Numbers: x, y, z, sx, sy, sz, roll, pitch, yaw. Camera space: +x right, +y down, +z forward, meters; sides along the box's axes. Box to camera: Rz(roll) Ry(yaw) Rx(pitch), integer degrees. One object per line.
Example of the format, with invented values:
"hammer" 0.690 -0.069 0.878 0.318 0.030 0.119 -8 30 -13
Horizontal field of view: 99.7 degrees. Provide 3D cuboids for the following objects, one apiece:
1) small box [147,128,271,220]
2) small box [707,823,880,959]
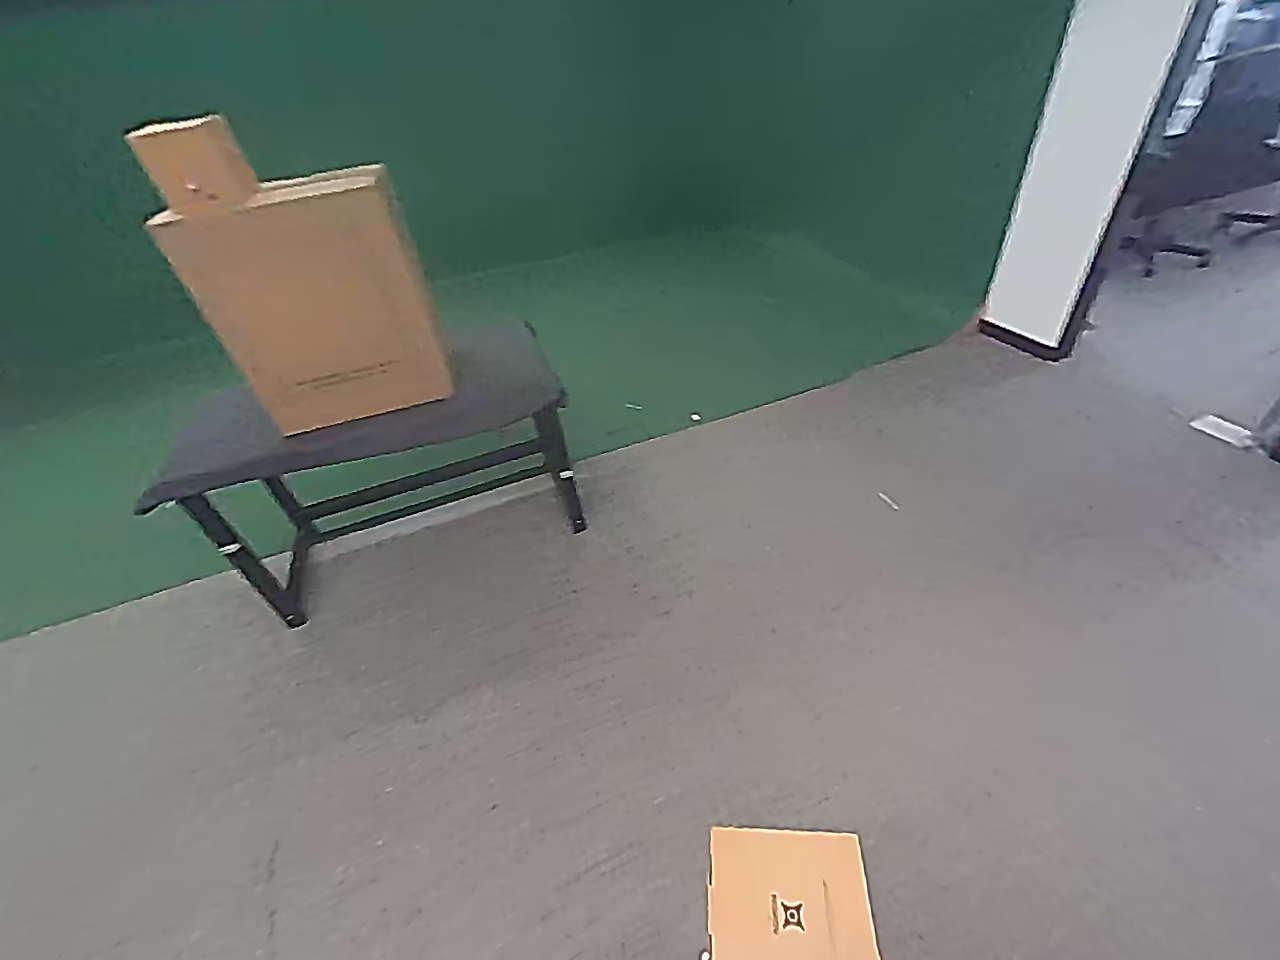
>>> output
"small box" -1.082 -0.779 1.378 0.168 0.176 0.179 -16 42 -8
"small box" 0.175 0.530 0.642 0.179 0.176 0.168 -4 41 9
